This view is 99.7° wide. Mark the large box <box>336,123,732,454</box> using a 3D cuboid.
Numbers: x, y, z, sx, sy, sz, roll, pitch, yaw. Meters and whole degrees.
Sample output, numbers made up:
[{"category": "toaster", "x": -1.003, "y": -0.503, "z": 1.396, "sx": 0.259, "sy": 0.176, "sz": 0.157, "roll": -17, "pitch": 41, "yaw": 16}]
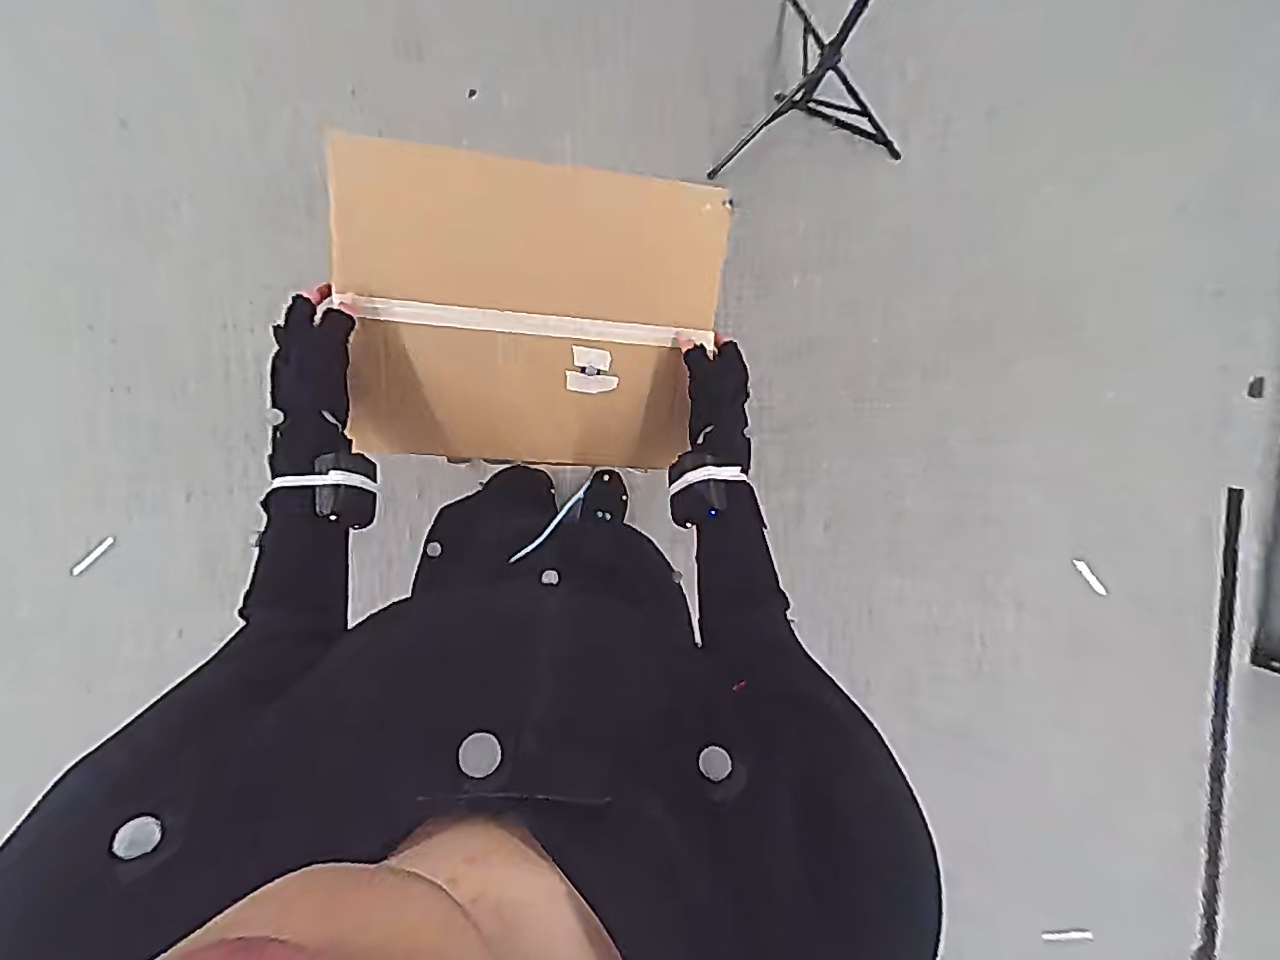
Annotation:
[{"category": "large box", "x": -0.132, "y": -0.231, "z": 0.729, "sx": 0.408, "sy": 0.320, "sz": 0.320, "roll": 4, "pitch": 108, "yaw": -9}]
